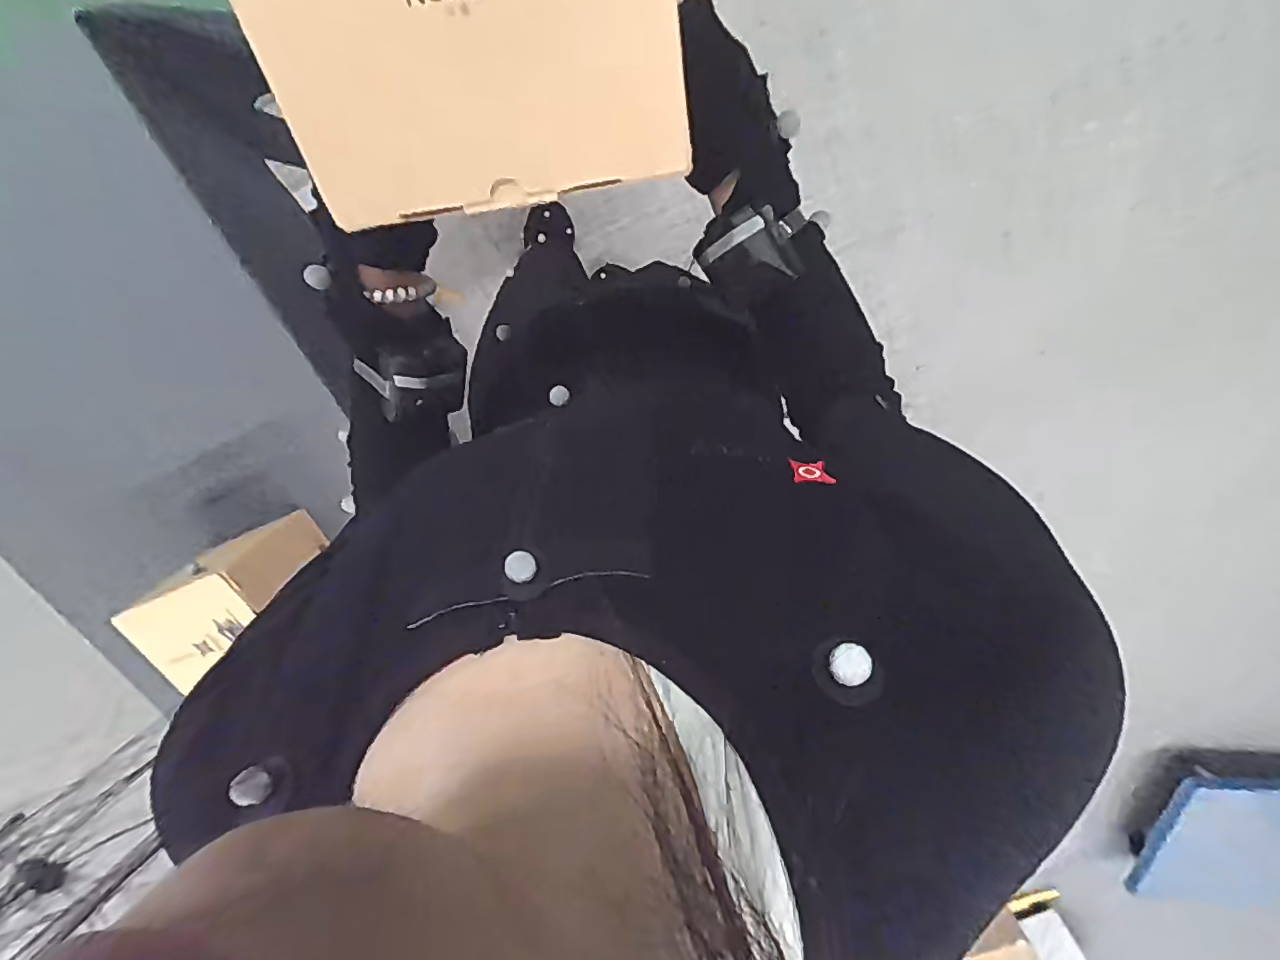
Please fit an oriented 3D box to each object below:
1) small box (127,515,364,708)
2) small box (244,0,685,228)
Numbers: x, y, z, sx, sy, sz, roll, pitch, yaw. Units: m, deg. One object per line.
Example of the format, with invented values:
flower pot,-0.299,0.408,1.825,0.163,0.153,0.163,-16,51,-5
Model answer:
small box,-0.520,0.173,0.750,0.179,0.176,0.168,-22,110,11
small box,-0.072,-0.246,0.261,0.168,0.176,0.179,-6,130,6
